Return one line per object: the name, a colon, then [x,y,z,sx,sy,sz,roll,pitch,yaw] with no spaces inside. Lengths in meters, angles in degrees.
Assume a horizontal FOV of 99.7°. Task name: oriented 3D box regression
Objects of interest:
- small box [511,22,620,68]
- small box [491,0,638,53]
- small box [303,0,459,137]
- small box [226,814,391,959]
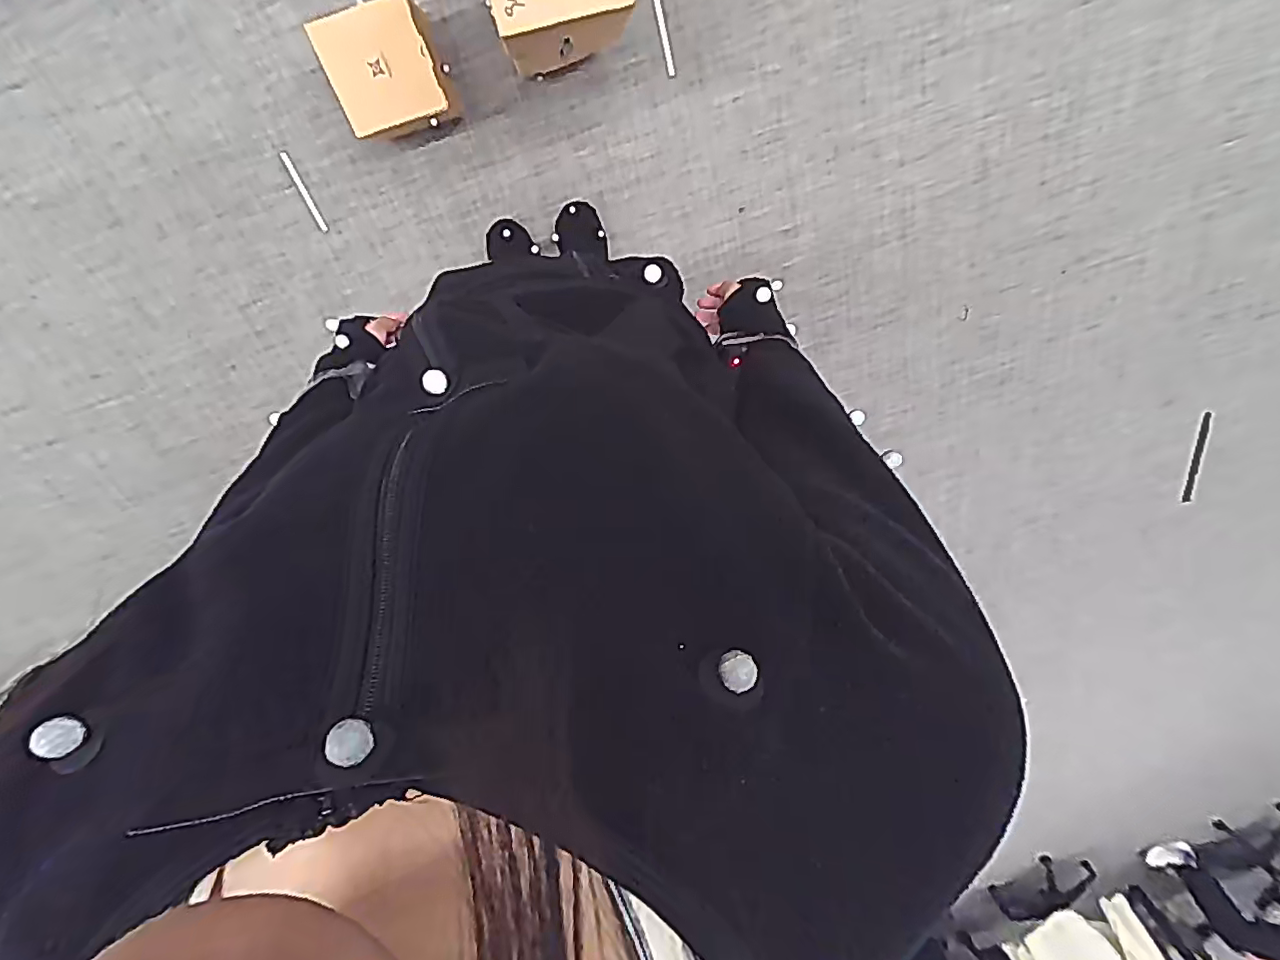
small box: [-0.138,-0.756,0.822,0.179,0.176,0.168,-17,122,0]
small box: [-0.114,-0.670,0.685,0.179,0.176,0.168,-15,122,-2]
small box: [-0.451,-0.740,0.977,0.179,0.176,0.168,-18,121,2]
small box: [-0.580,0.745,0.983,0.179,0.176,0.168,-19,121,3]
